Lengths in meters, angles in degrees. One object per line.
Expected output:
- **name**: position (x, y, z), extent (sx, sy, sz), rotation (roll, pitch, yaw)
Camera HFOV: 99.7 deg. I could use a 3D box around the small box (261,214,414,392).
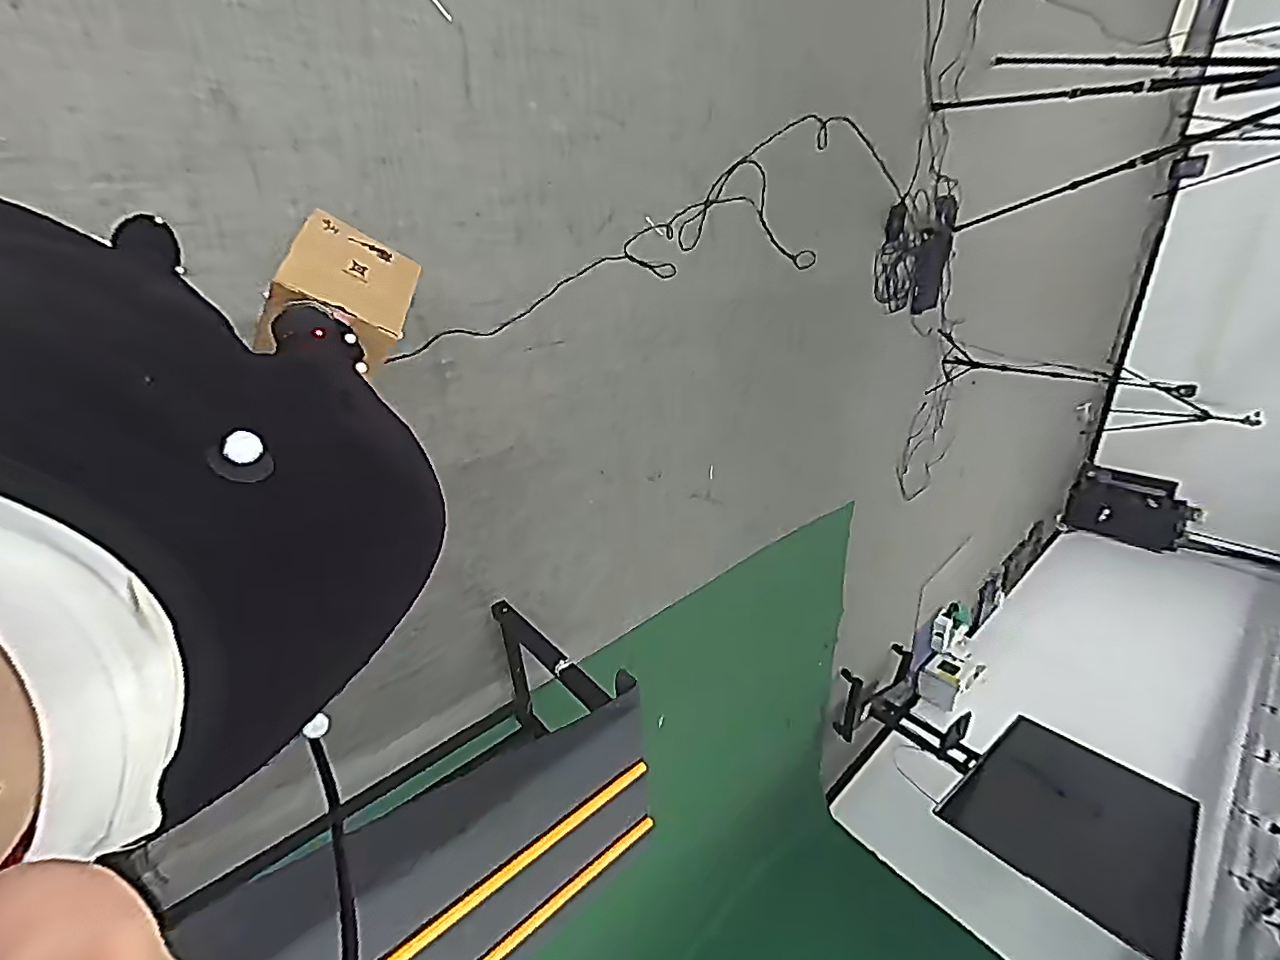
- **small box**: position (-0.481, -0.270, 0.861), extent (0.168, 0.176, 0.179), rotation (19, 50, -32)
